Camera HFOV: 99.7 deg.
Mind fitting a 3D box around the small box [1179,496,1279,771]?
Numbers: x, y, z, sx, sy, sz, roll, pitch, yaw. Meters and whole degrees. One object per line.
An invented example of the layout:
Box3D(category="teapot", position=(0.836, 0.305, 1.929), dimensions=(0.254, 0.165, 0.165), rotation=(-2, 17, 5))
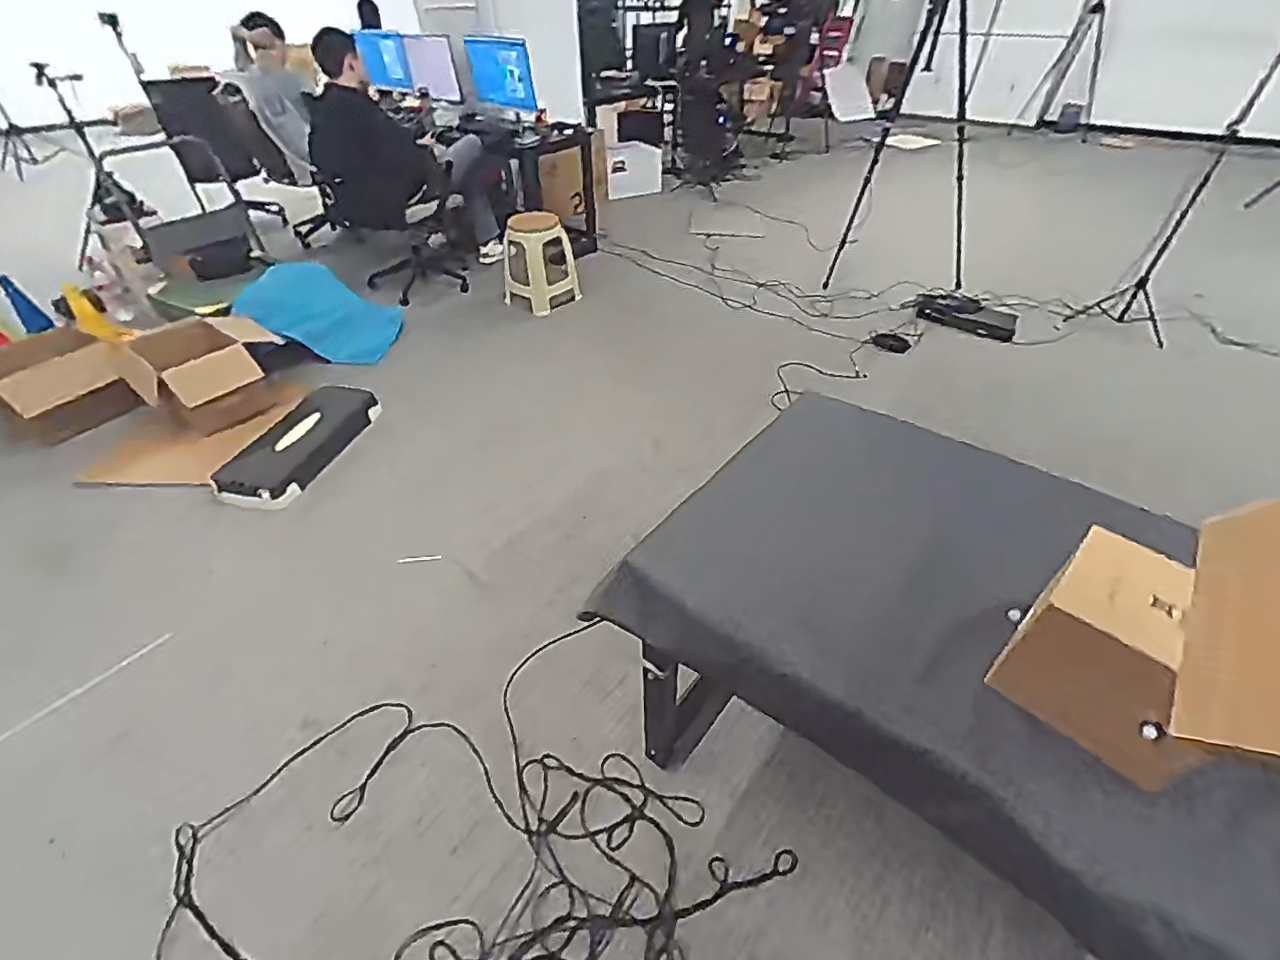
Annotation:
Box3D(category="small box", position=(0.465, 0.100, 0.304), dimensions=(0.168, 0.176, 0.179), rotation=(19, 78, 18))

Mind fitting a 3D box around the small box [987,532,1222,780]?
Box3D(category="small box", position=(0.536, 0.198, 0.602), dimensions=(0.168, 0.176, 0.179), rotation=(-31, 49, -31))
